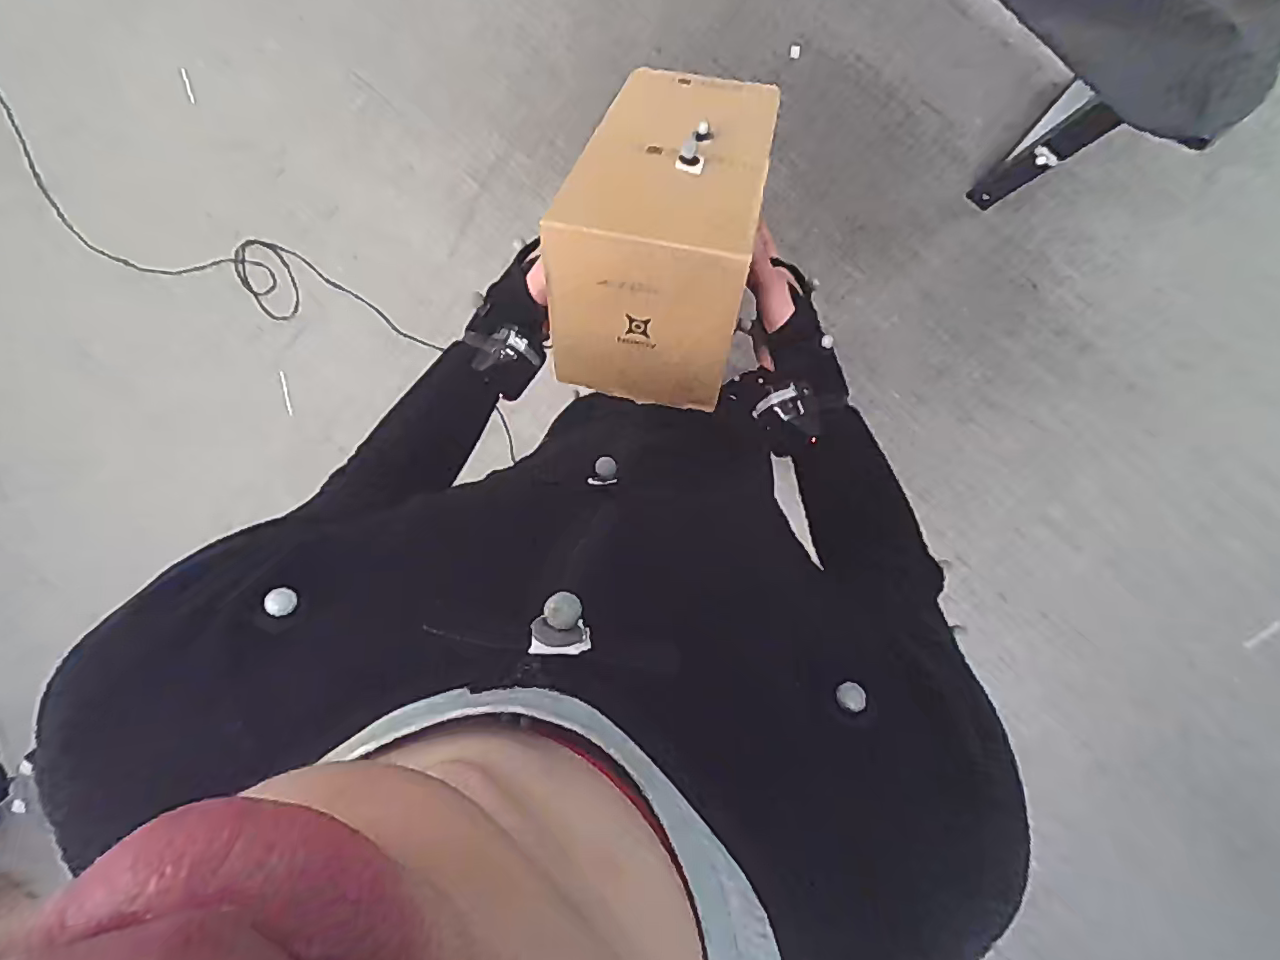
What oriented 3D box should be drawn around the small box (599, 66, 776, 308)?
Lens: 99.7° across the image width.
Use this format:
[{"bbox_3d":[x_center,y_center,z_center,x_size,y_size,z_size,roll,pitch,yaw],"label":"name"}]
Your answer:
[{"bbox_3d":[0.054,-0.332,0.621,0.168,0.176,0.179,11,146,5],"label":"small box"}]
